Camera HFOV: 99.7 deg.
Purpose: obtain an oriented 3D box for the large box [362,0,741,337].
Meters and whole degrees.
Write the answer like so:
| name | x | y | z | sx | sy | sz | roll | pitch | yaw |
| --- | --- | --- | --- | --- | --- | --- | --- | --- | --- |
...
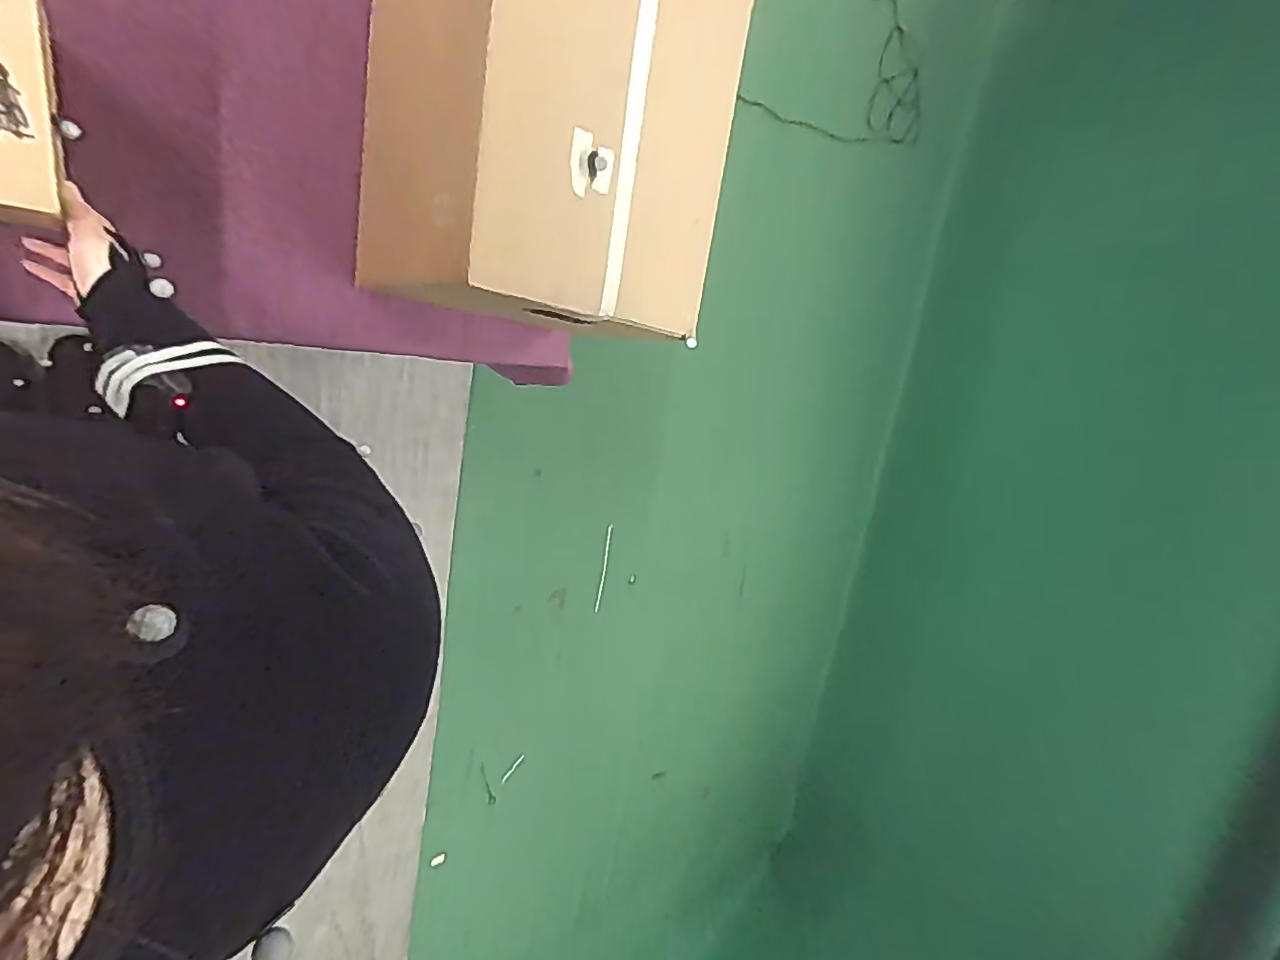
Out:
| name | x | y | z | sx | sy | sz | roll | pitch | yaw |
| --- | --- | --- | --- | --- | --- | --- | --- | --- | --- |
| large box | -0.120 | -0.411 | 0.661 | 0.320 | 0.320 | 0.408 | -2 | 106 | -45 |
